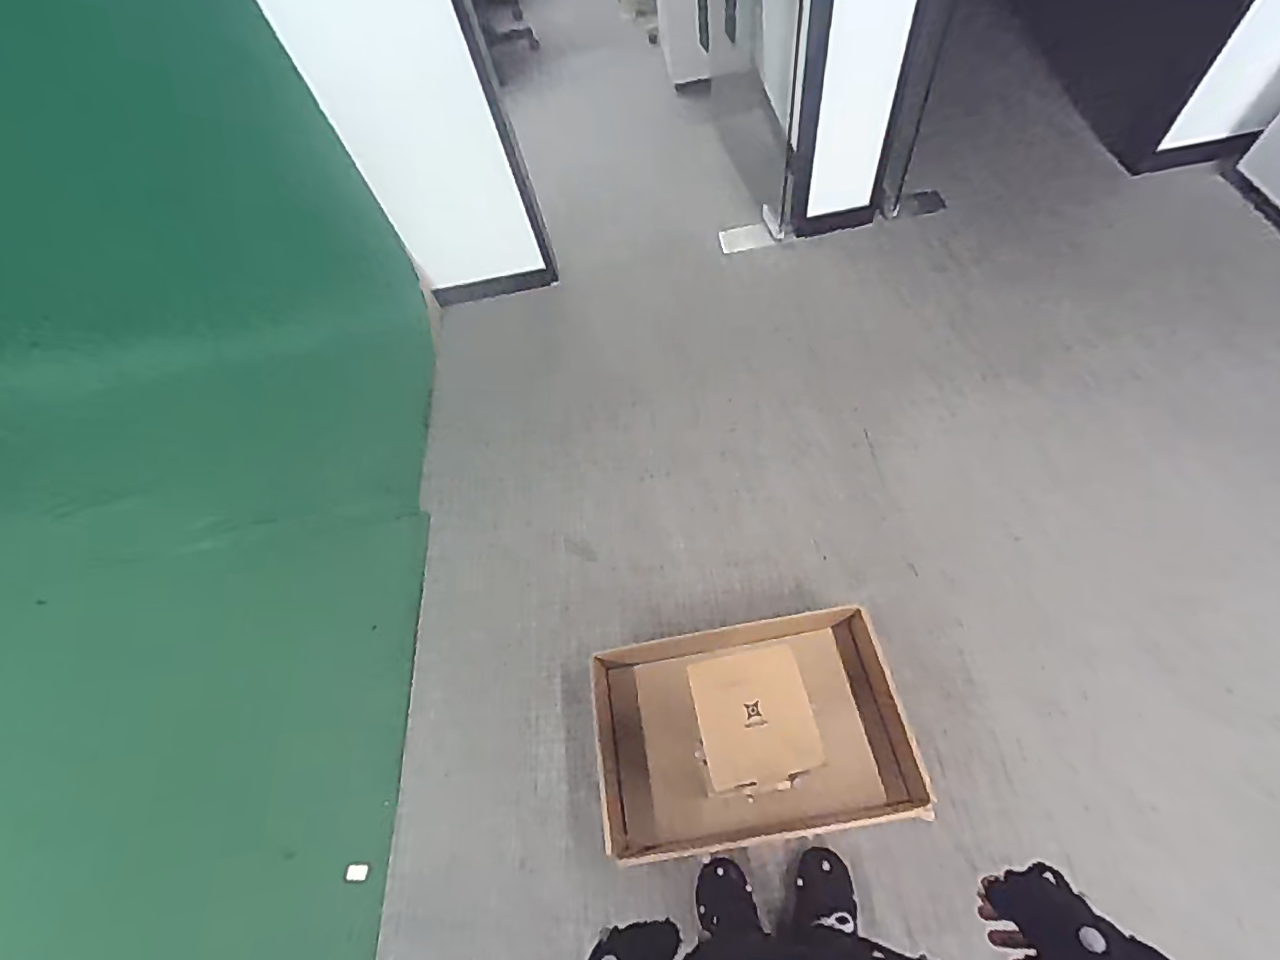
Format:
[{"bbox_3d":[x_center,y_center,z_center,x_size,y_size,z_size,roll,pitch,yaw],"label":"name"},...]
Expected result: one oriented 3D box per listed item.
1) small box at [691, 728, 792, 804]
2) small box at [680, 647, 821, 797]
[{"bbox_3d":[0.206,0.574,1.132,0.179,0.176,0.168,-10,57,4],"label":"small box"},{"bbox_3d":[0.166,0.386,0.850,0.168,0.176,0.179,-13,57,0],"label":"small box"}]
